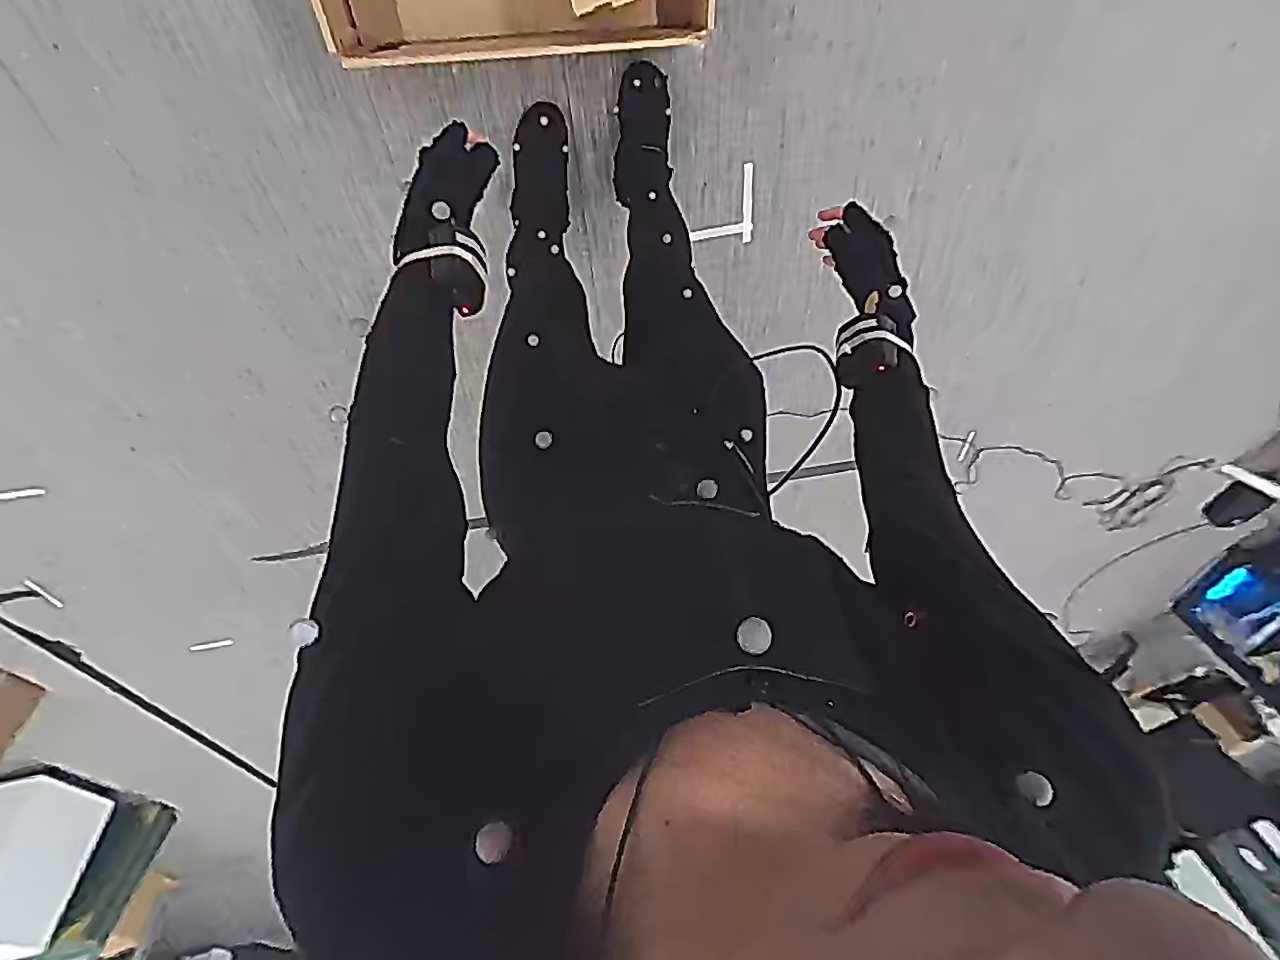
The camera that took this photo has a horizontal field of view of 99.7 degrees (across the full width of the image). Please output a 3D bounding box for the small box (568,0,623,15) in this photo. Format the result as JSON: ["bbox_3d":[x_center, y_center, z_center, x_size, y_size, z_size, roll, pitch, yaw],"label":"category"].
[{"bbox_3d":[-0.053,-0.850,0.826,0.168,0.176,0.179,-17,133,3],"label":"small box"}]
